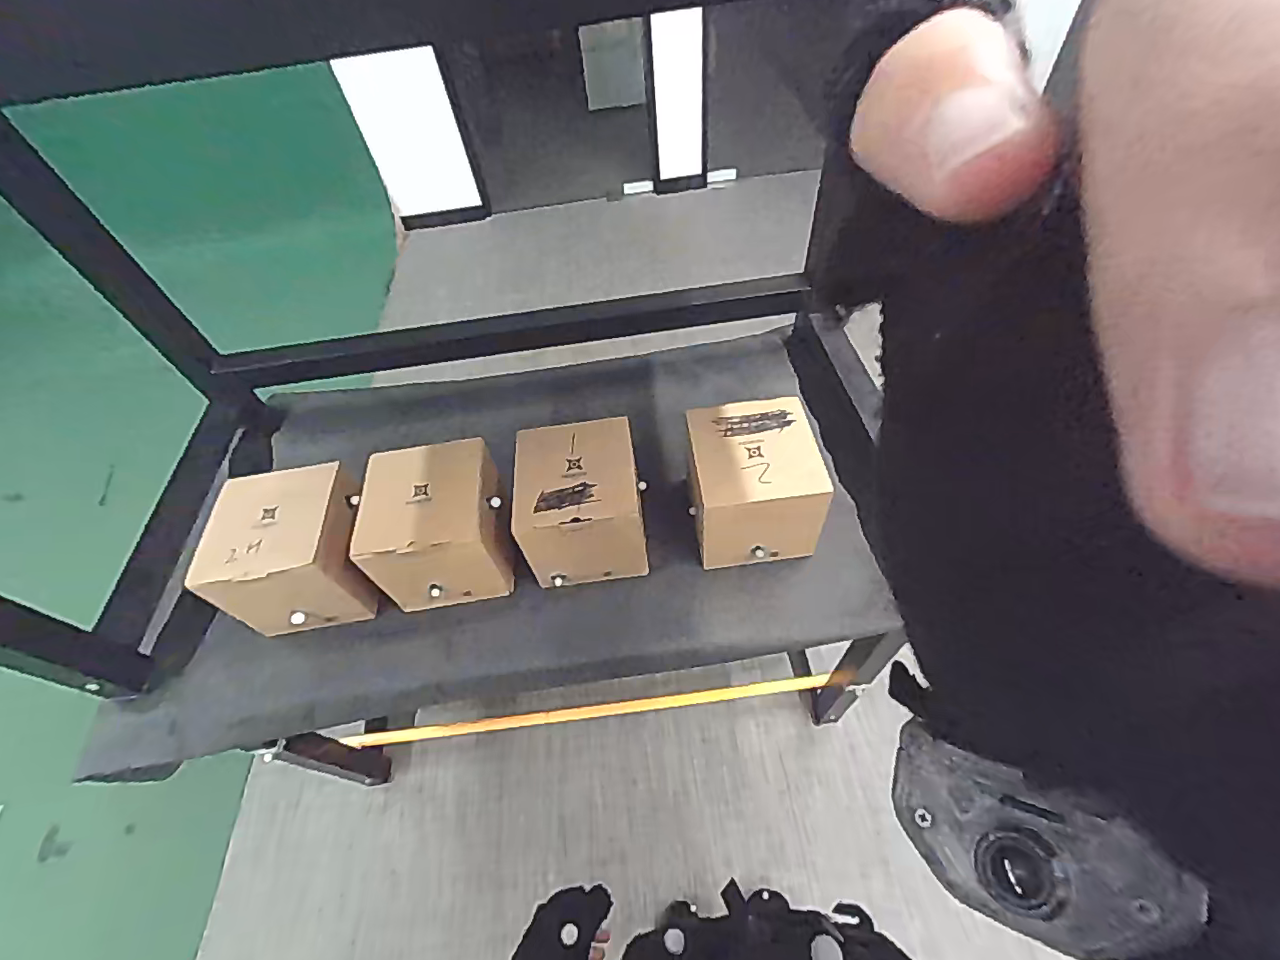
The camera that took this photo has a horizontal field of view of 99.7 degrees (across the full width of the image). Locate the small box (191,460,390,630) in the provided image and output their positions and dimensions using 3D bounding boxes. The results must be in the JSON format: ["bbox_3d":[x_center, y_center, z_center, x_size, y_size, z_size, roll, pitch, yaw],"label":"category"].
[{"bbox_3d":[-0.491,0.098,0.796,0.168,0.176,0.179,-9,52,-1],"label":"small box"}]
